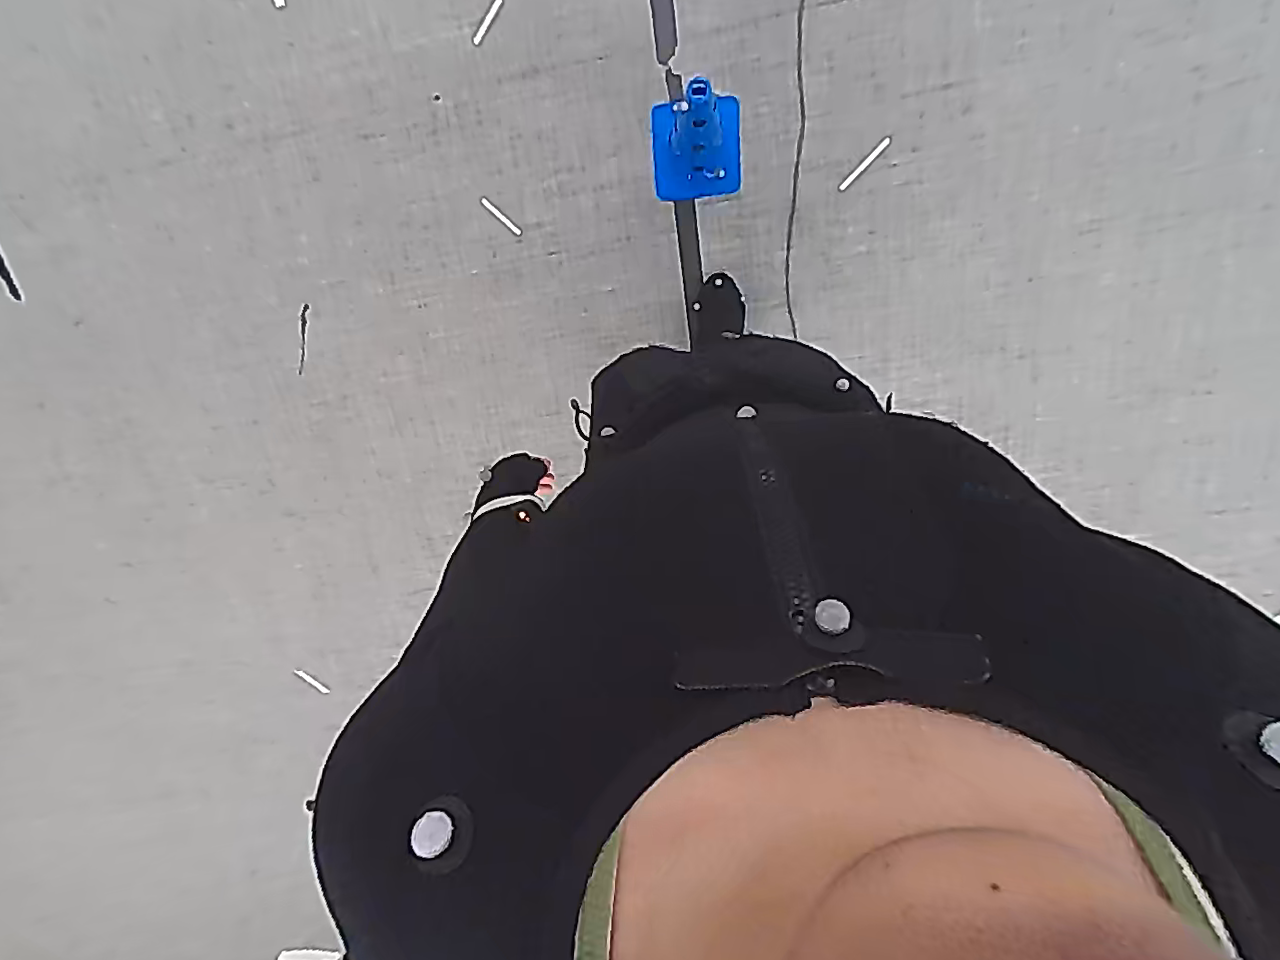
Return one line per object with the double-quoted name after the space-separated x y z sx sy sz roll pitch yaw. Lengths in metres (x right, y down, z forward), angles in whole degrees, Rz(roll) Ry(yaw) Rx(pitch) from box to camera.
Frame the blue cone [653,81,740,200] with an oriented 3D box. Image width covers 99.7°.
0.116 -0.702 1.067 0.193 0.380 0.192 -4 106 5 "blue cone"
